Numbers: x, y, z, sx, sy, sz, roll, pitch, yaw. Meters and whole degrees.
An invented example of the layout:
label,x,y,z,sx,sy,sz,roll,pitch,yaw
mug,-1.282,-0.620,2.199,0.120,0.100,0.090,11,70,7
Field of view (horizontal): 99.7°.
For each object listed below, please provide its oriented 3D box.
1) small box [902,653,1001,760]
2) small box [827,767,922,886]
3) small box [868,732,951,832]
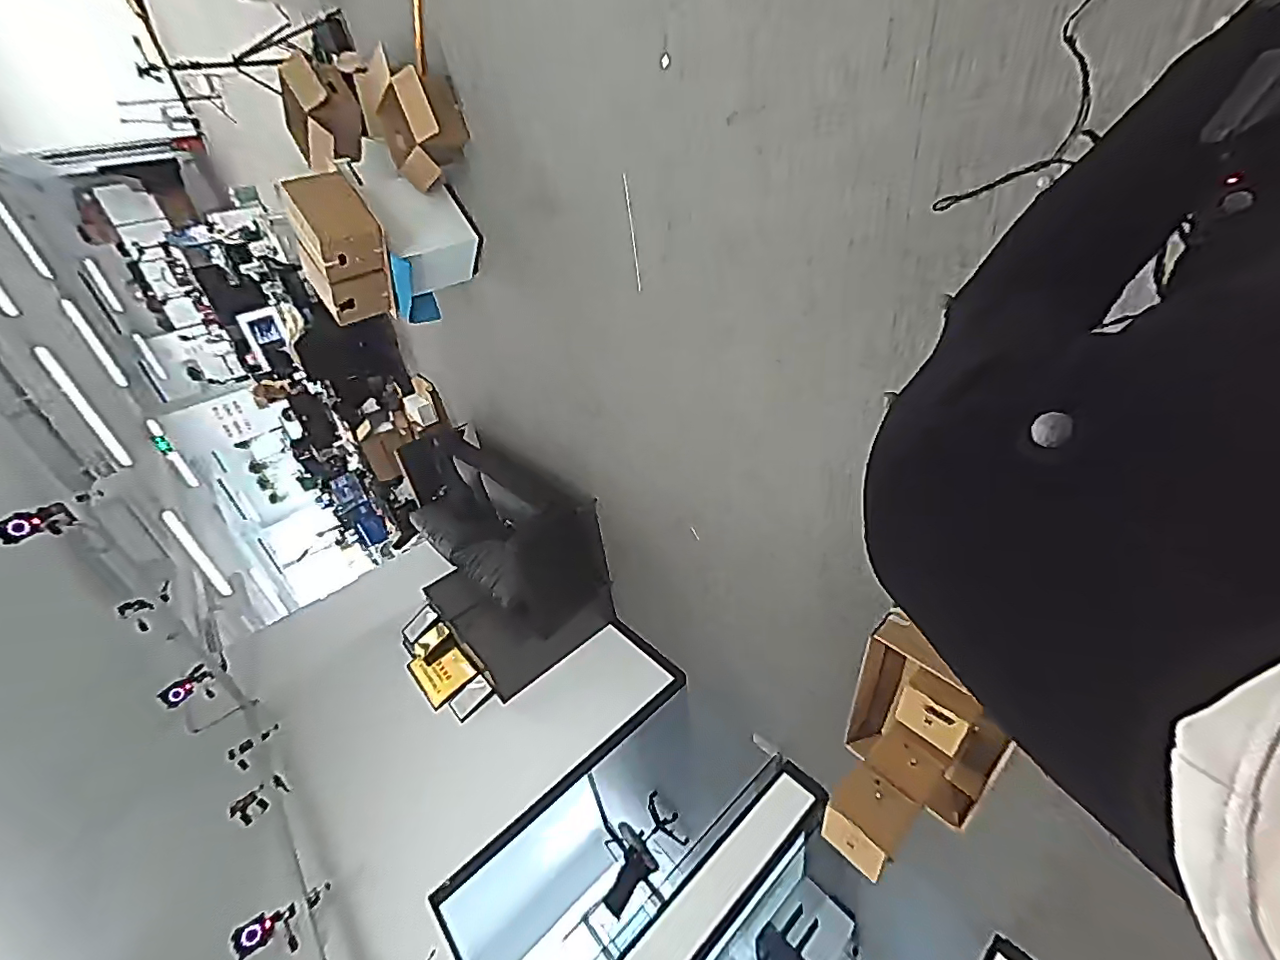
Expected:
label,x,y,z,sx,sy,sz,roll,pitch,yaw
small box,0.858,0.616,1.490,0.168,0.176,0.179,32,142,40
small box,0.632,0.928,1.459,0.168,0.176,0.179,29,136,42
small box,0.758,0.872,1.550,0.168,0.176,0.179,31,137,41
